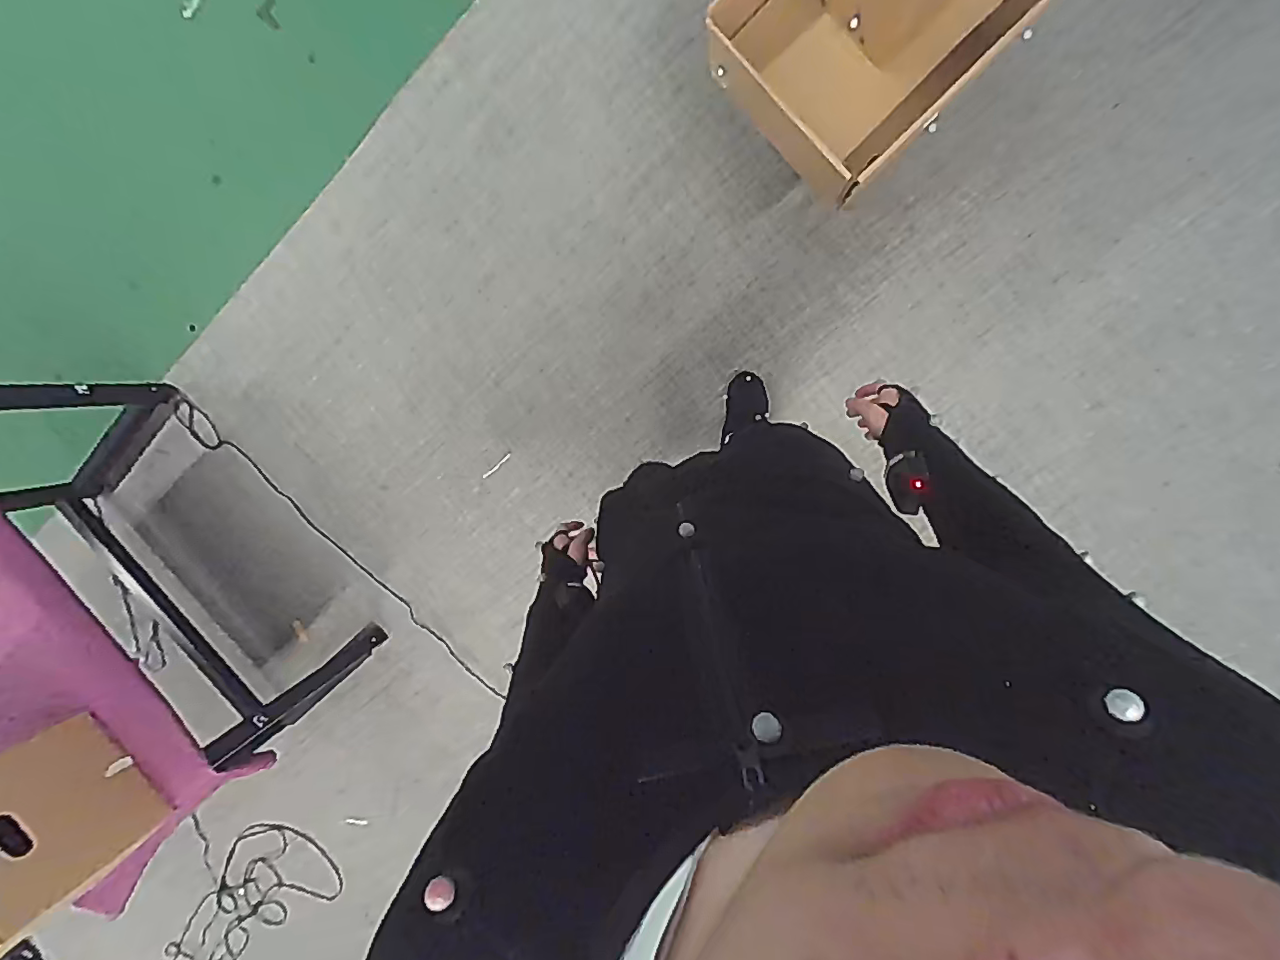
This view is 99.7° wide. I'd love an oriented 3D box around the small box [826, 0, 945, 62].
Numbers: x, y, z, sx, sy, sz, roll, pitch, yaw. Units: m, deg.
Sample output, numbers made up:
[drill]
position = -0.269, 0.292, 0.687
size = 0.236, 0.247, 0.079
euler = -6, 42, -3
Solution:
[small box]
position = 0.441, -0.872, 0.907
size = 0.179, 0.176, 0.168
euler = -42, 91, 13
